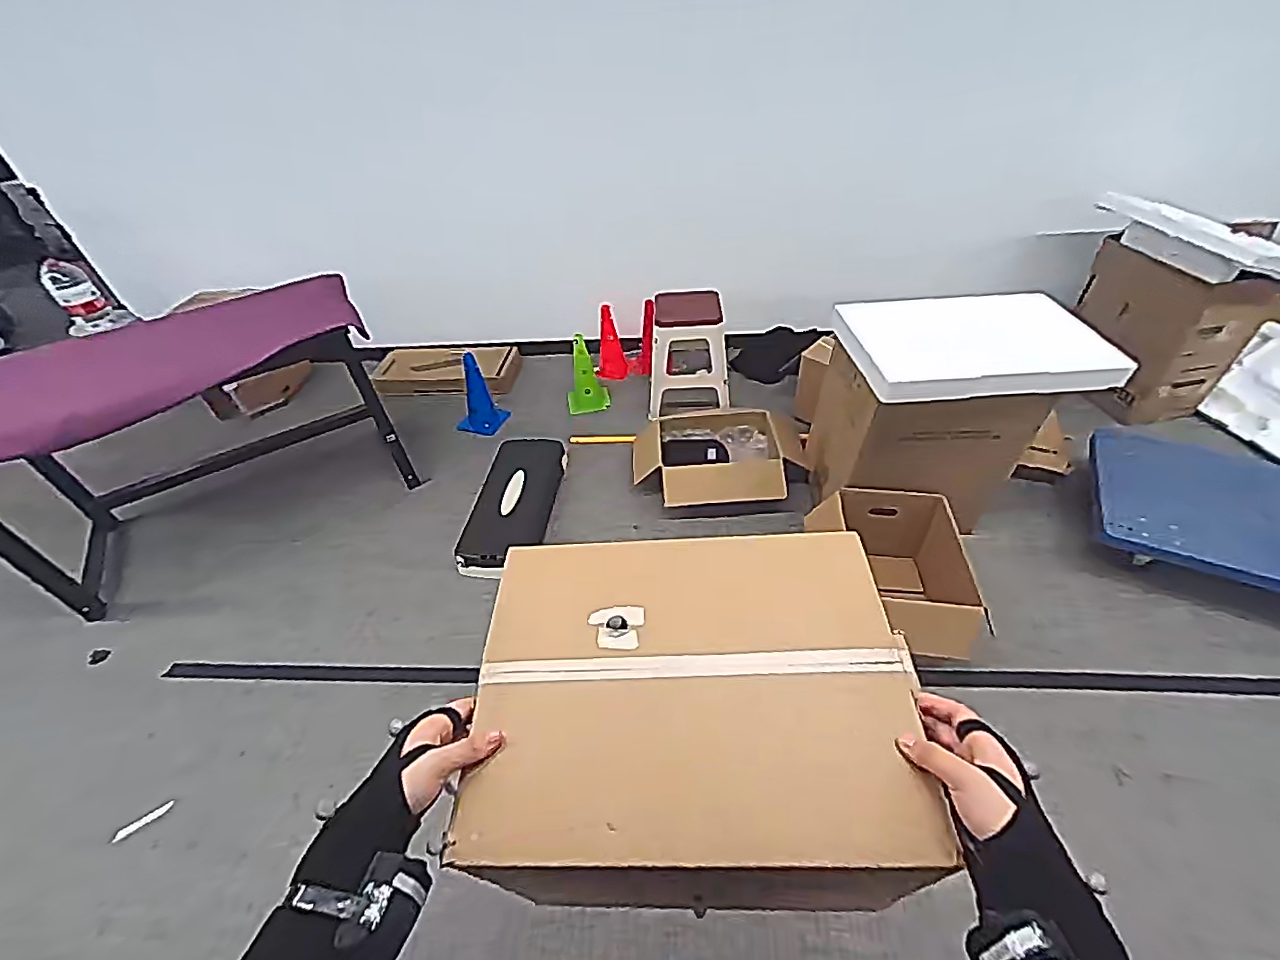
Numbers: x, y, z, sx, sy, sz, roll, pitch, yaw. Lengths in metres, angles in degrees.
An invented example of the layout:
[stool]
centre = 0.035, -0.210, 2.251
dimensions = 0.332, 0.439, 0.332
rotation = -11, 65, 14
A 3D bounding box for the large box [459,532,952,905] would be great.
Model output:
[large box]
centre = 0.065, 0.290, 0.639
dimensions = 0.408, 0.320, 0.320
rotation = -5, 45, 6
